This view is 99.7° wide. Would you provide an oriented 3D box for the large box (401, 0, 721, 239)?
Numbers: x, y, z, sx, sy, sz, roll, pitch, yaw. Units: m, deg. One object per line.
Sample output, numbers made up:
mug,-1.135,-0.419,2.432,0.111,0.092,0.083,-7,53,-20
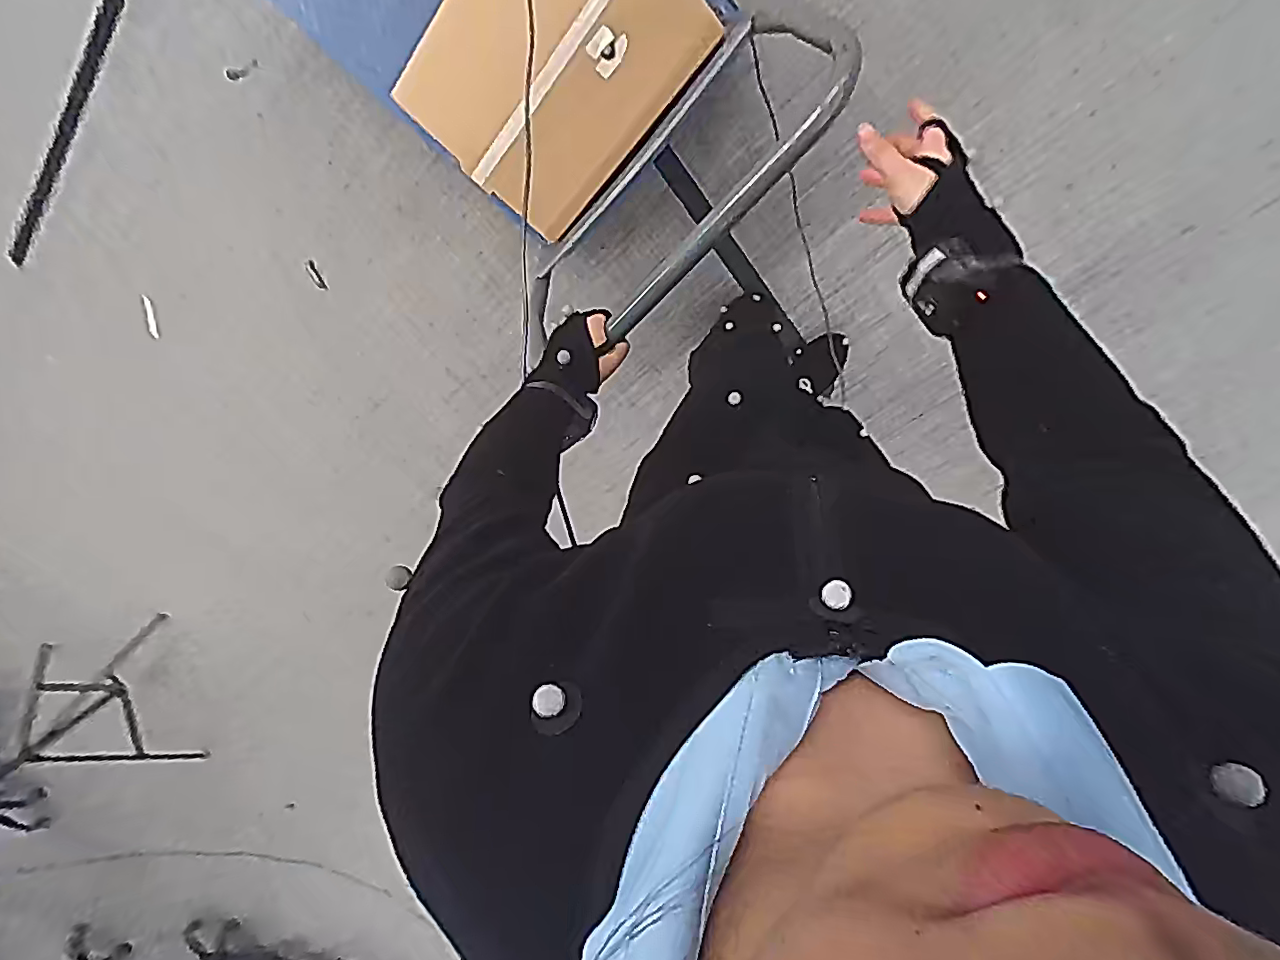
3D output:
large box,-0.128,-0.706,0.922,0.320,0.320,0.408,36,117,-26
